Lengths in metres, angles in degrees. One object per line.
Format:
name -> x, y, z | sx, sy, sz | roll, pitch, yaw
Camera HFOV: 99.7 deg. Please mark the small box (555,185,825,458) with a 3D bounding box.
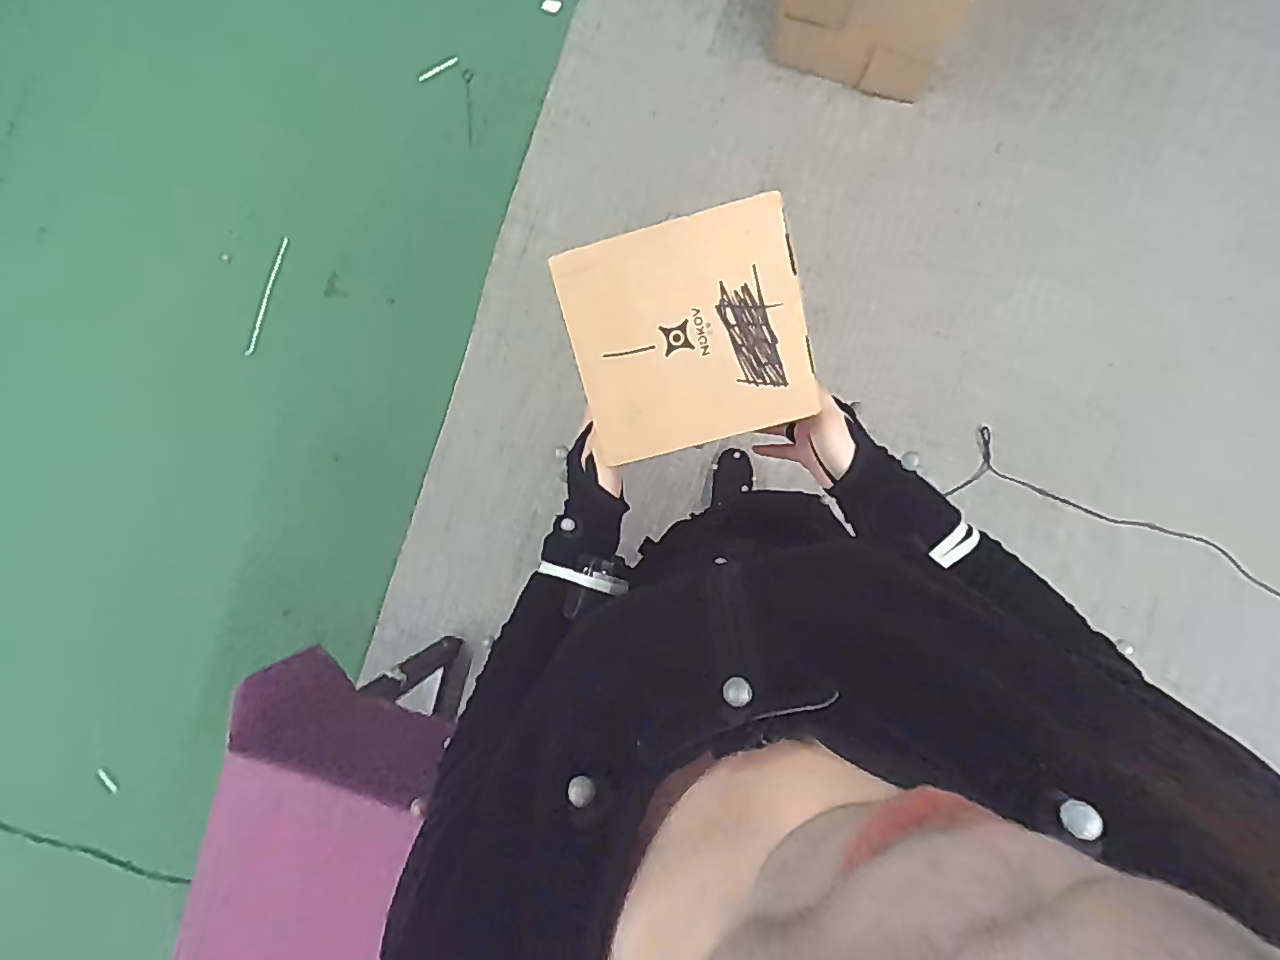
small box -> 0.041, -0.131, 0.479 | 0.179, 0.176, 0.168 | -13, 102, 5
